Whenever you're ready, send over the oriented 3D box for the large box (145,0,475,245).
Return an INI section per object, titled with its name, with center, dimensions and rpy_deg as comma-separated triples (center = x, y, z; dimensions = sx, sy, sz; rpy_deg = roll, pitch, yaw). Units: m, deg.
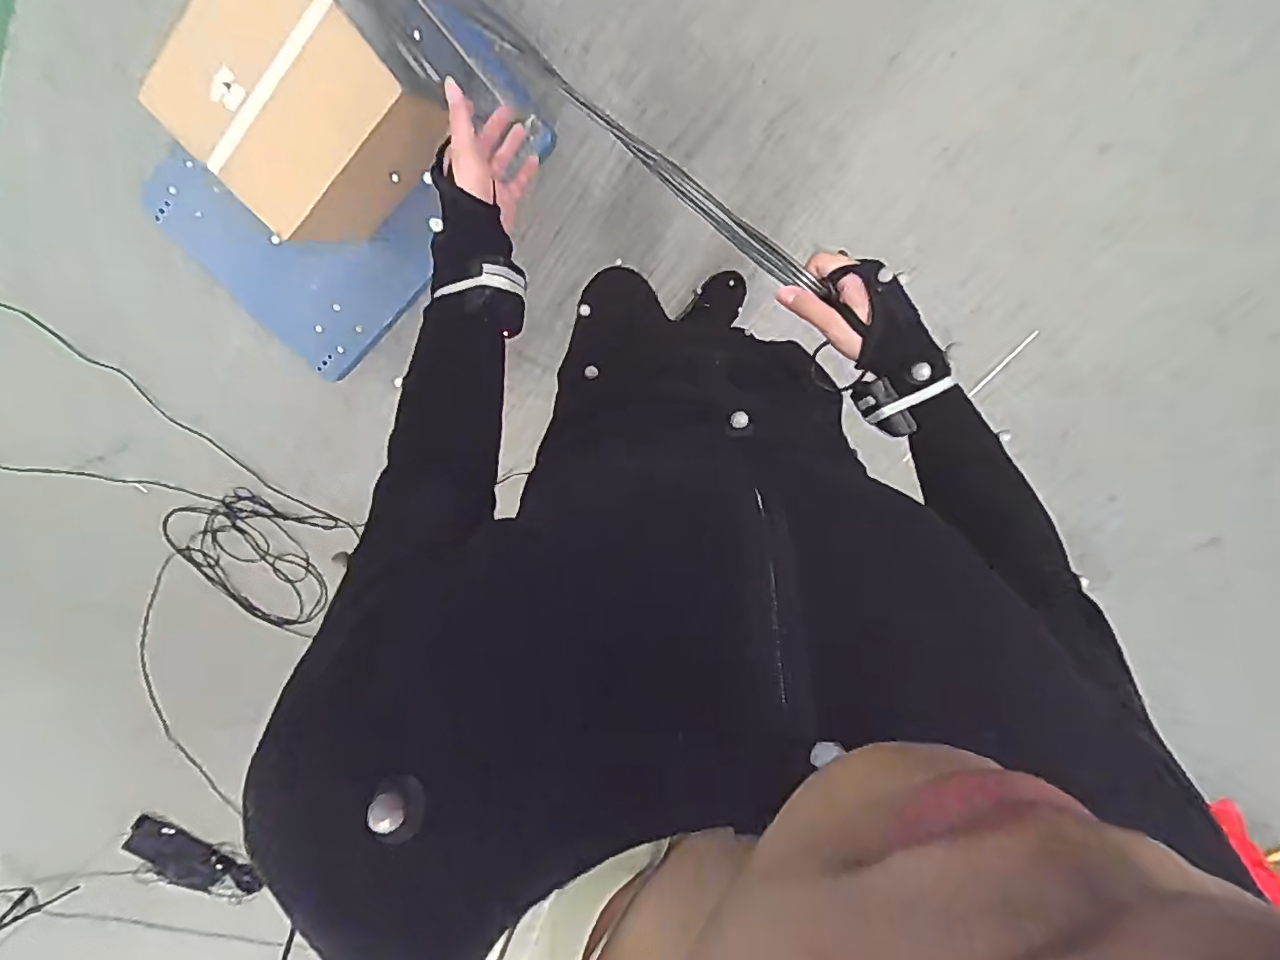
[large box]
center = -0.601, -0.725, 1.047
dimensions = 0.408, 0.320, 0.320
rpy_deg = -37, 107, 18
